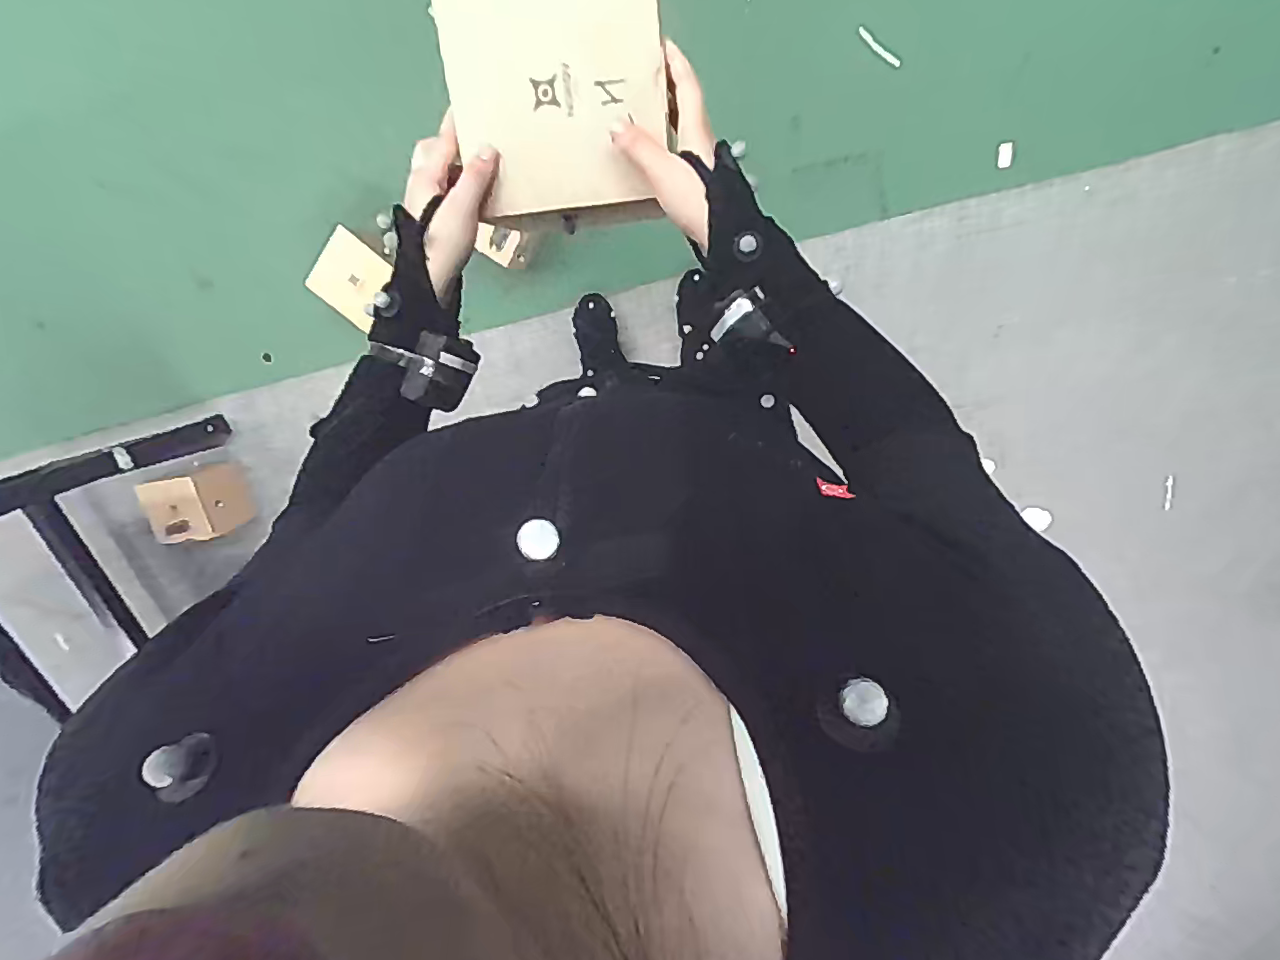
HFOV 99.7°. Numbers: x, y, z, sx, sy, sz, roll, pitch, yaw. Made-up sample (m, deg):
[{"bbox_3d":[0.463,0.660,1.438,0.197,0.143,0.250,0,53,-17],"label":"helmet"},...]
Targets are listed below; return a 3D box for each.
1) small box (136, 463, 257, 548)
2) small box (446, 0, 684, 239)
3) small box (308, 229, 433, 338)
[{"bbox_3d":[-1.220,0.068,1.505,0.168,0.176,0.179,-8,109,4],"label":"small box"},{"bbox_3d":[-0.051,-0.326,0.507,0.179,0.176,0.168,-4,111,6],"label":"small box"},{"bbox_3d":[-0.633,-0.464,1.289,0.179,0.176,0.168,38,107,-13],"label":"small box"}]
